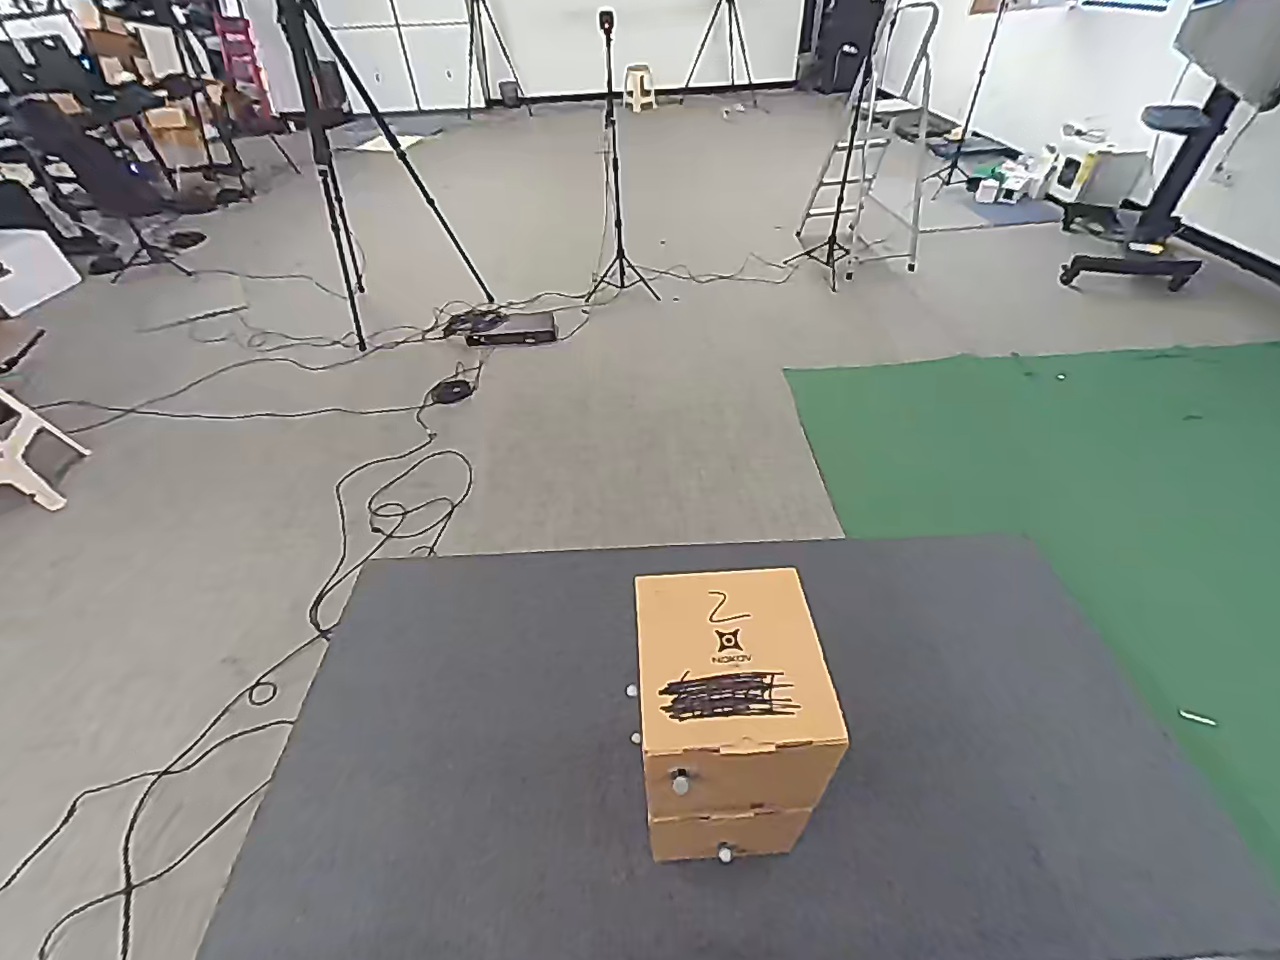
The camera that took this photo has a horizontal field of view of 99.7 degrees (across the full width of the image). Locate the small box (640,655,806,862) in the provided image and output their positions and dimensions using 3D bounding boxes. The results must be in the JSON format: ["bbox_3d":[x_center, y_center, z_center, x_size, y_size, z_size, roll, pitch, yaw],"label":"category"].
[{"bbox_3d":[0.085,0.337,0.658,0.168,0.176,0.179,-4,44,-1],"label":"small box"}]
